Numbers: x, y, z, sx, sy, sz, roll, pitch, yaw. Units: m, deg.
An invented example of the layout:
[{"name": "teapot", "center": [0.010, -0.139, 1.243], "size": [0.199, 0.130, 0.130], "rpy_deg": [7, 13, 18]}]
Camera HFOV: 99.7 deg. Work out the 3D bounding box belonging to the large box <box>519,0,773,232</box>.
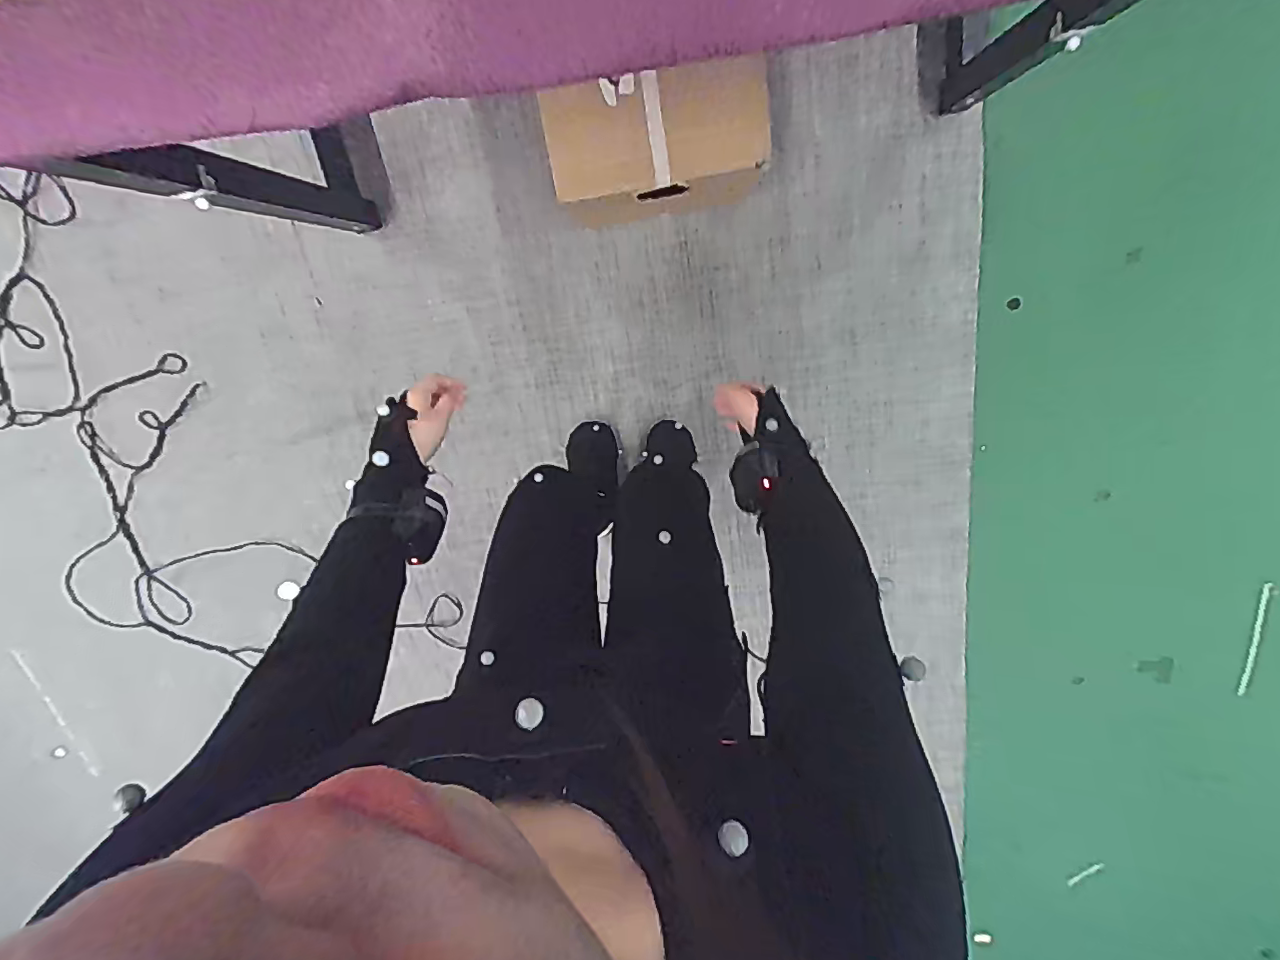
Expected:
[{"name": "large box", "center": [0.008, -0.648, 0.855], "size": [0.320, 0.320, 0.408], "rpy_deg": [-8, 109, 6]}]
